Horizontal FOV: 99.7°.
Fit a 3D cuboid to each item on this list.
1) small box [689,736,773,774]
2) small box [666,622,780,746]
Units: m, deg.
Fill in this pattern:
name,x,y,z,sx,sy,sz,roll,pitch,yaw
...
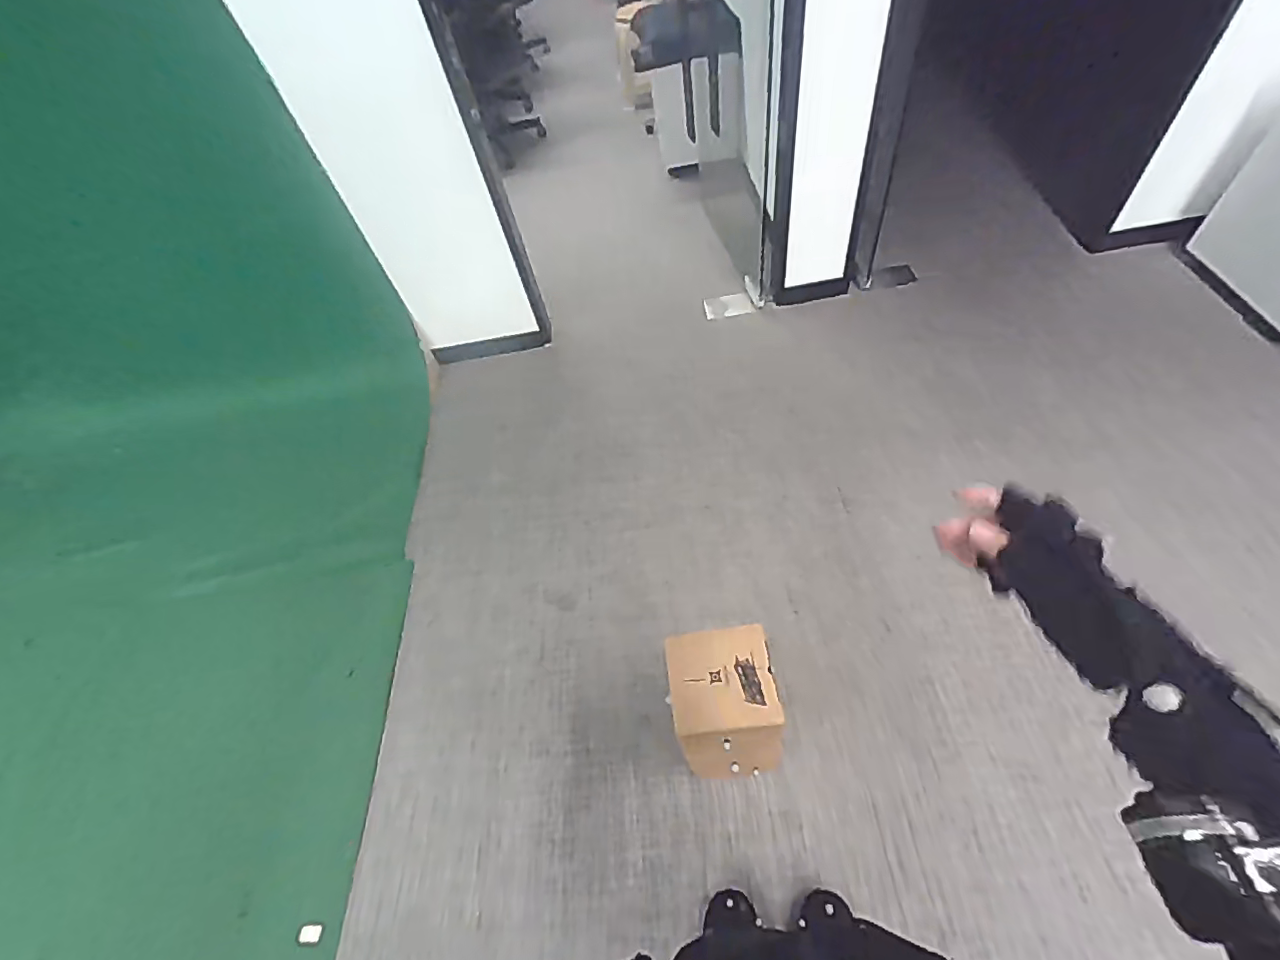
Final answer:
name,x,y,z,sx,sy,sz,roll,pitch,yaw
small box,0.198,0.560,1.232,0.179,0.176,0.168,-10,53,5
small box,0.143,0.369,0.968,0.179,0.176,0.168,-7,52,6
